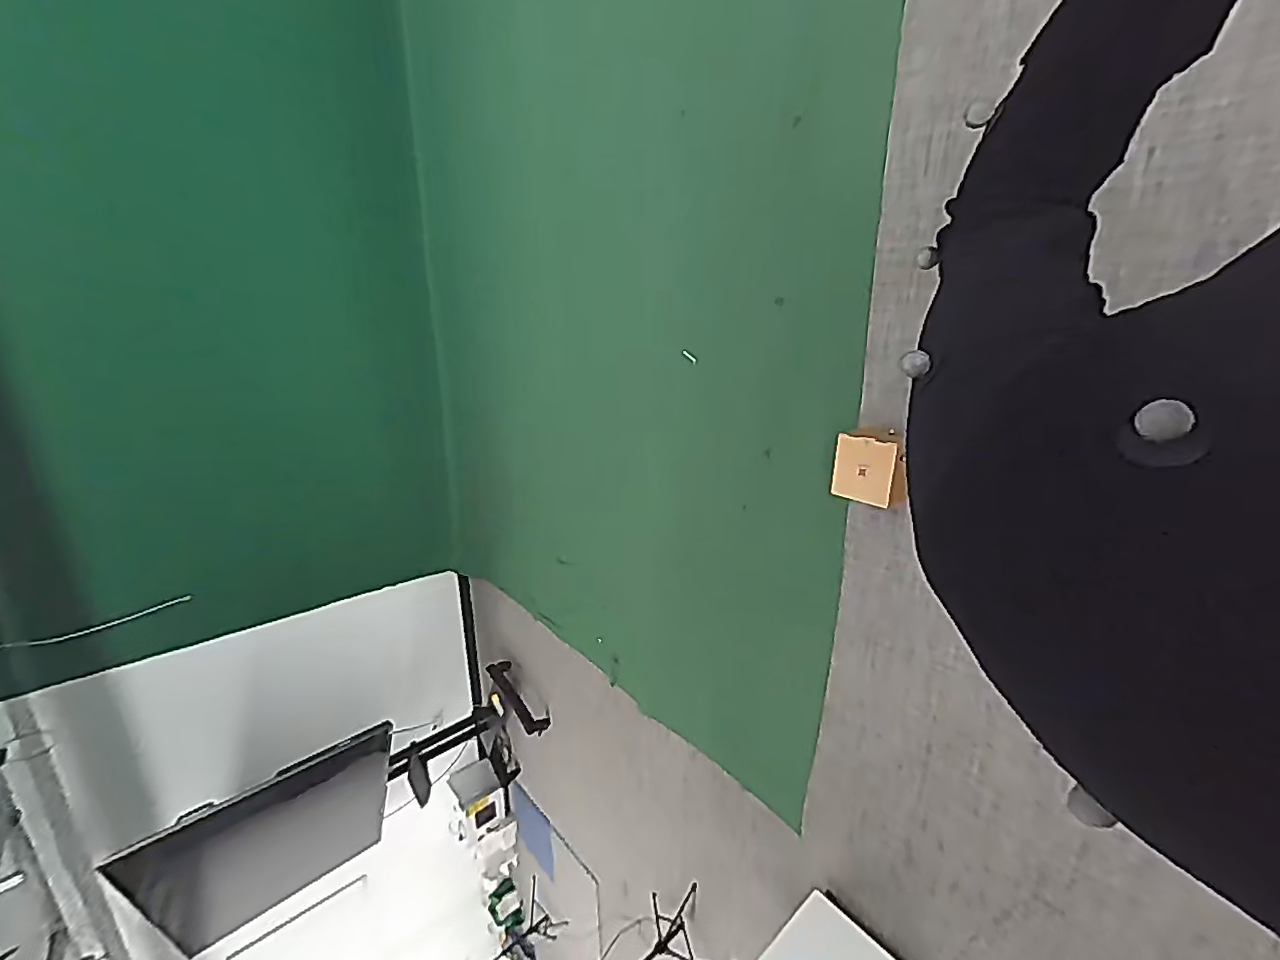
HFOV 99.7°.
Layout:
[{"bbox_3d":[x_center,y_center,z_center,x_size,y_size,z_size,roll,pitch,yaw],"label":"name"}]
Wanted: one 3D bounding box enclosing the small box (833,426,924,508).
[{"bbox_3d":[0.656,-0.042,1.484,0.168,0.176,0.179,19,114,45],"label":"small box"}]
